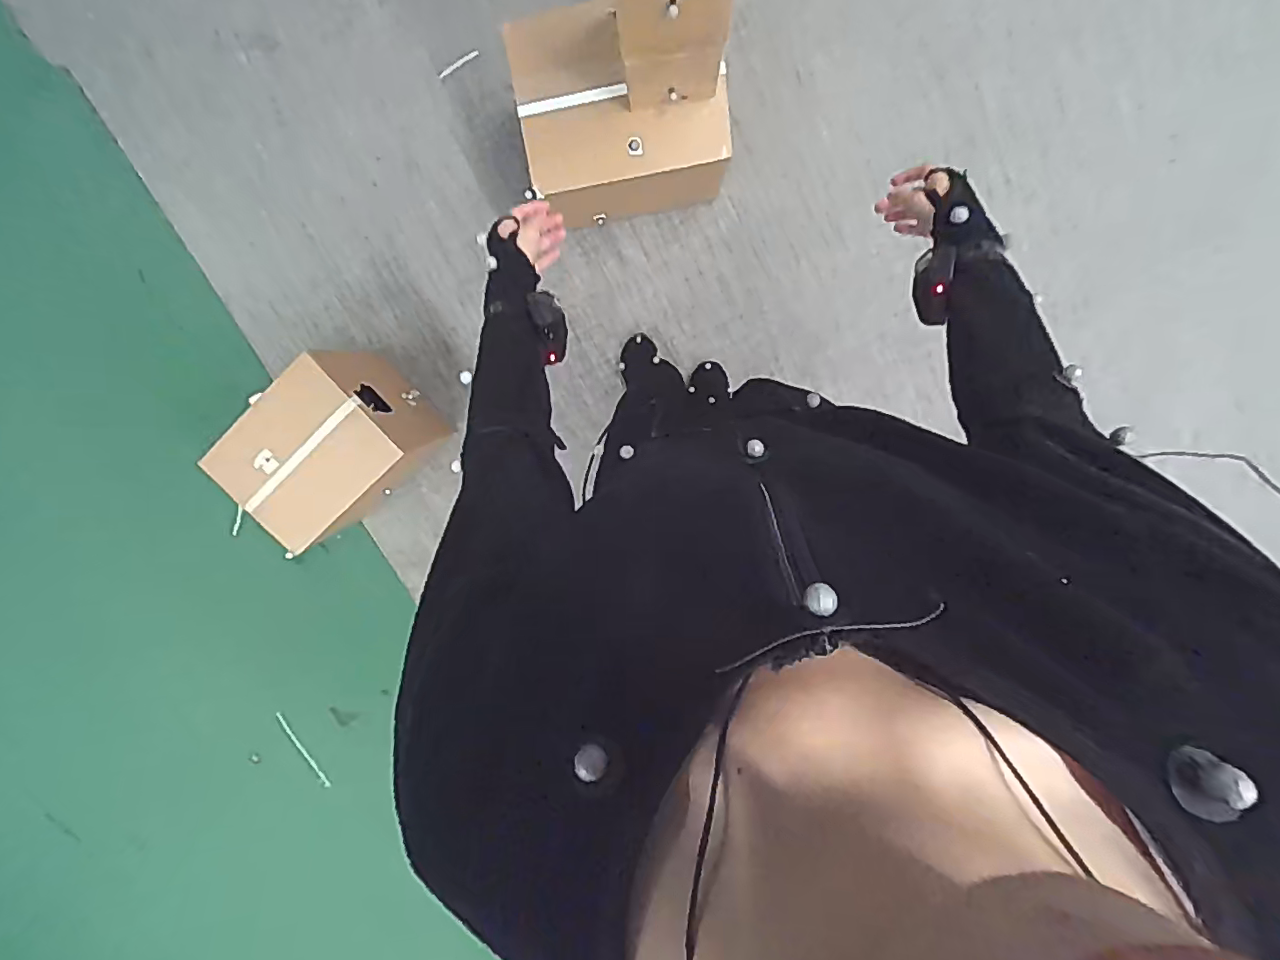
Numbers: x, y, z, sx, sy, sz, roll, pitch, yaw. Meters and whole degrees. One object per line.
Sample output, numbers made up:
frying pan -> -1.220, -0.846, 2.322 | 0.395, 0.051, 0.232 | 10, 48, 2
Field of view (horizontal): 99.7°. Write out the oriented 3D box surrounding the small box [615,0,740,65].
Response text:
small box -> 0.049, -0.743, 0.780 | 0.179, 0.176, 0.168 | -6, 101, 5

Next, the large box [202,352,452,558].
large box -> -0.774, -0.082, 1.393 | 0.408, 0.320, 0.320 | -39, 98, 12

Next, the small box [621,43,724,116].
small box -> 0.048, -0.775, 0.939 | 0.168, 0.176, 0.179 | -7, 101, 5
